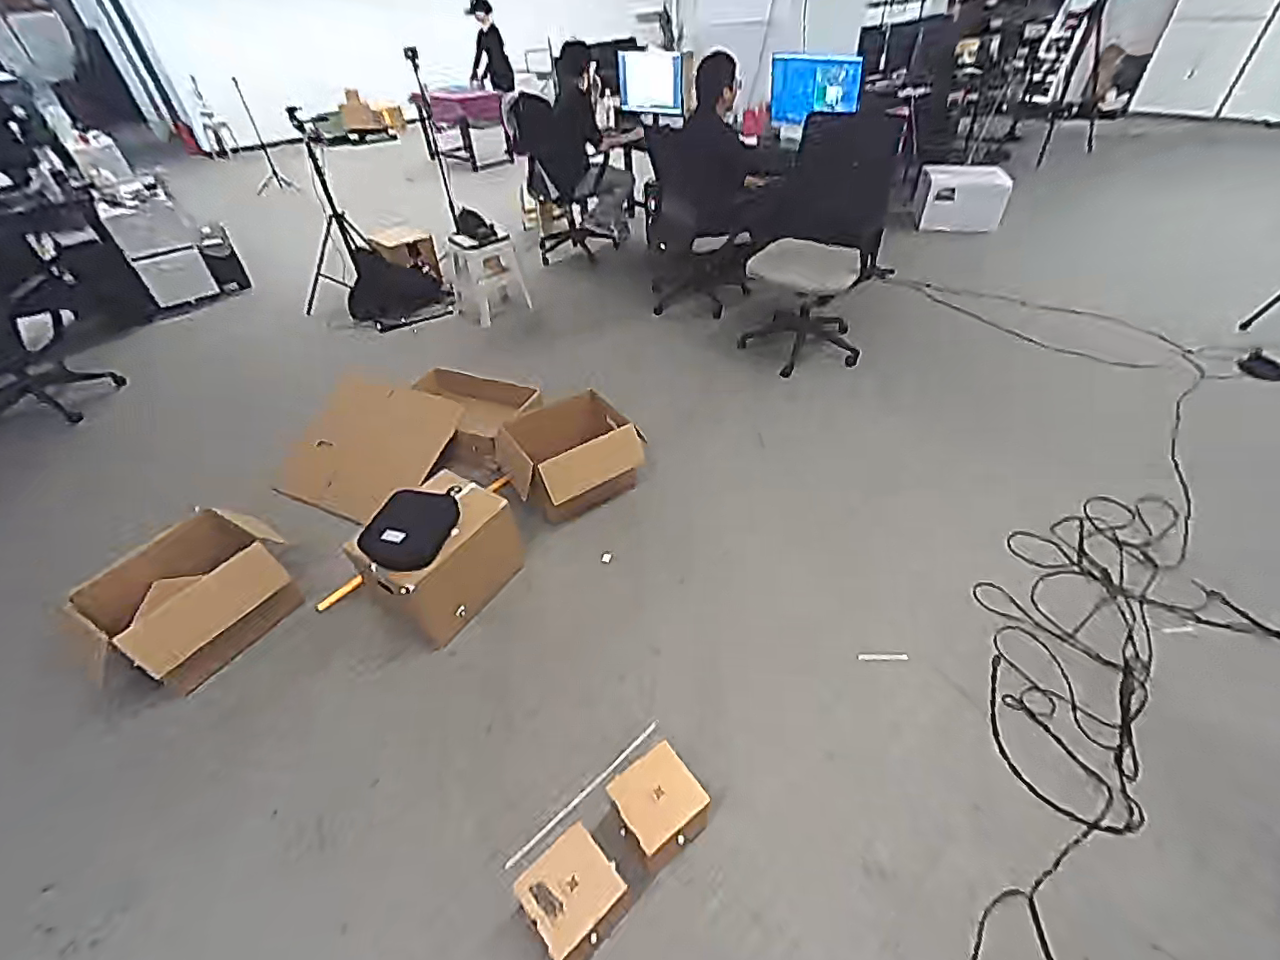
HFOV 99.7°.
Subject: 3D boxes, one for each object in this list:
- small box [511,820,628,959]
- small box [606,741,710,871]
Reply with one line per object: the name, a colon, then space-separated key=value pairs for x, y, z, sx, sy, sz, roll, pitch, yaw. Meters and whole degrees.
small box: x=-0.140 y=0.871 z=1.134 sx=0.179 sy=0.176 sz=0.168 roll=-32 pitch=49 yaw=-29
small box: x=0.041 y=0.753 z=1.252 sx=0.179 sy=0.176 sz=0.168 roll=-29 pitch=48 yaw=-24
